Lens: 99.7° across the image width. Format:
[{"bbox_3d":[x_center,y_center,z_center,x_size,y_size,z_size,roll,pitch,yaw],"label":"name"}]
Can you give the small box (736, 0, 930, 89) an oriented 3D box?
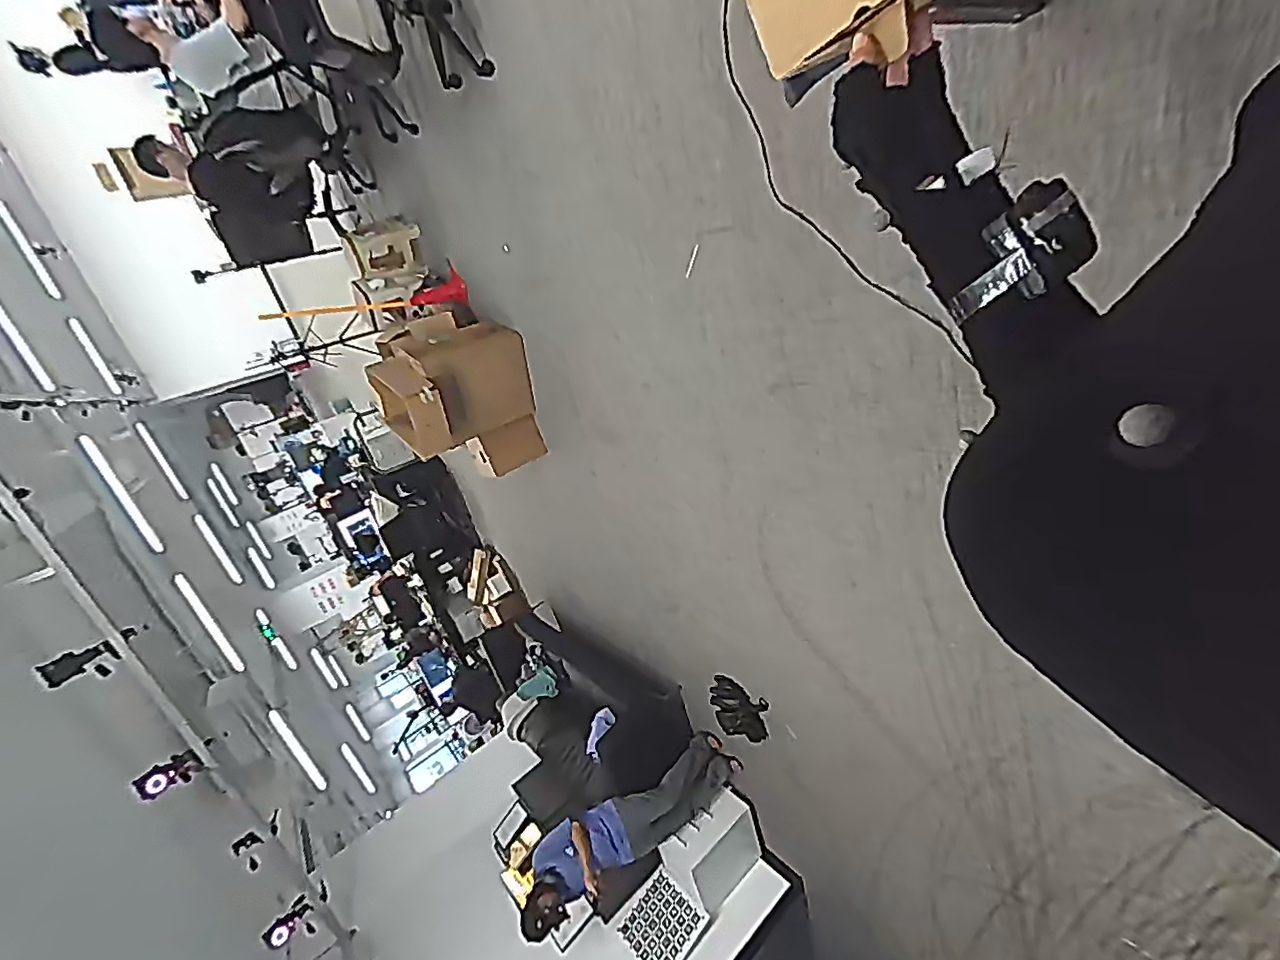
[{"bbox_3d":[0.171,-0.442,0.396,0.168,0.176,0.179,1,126,55],"label":"small box"}]
